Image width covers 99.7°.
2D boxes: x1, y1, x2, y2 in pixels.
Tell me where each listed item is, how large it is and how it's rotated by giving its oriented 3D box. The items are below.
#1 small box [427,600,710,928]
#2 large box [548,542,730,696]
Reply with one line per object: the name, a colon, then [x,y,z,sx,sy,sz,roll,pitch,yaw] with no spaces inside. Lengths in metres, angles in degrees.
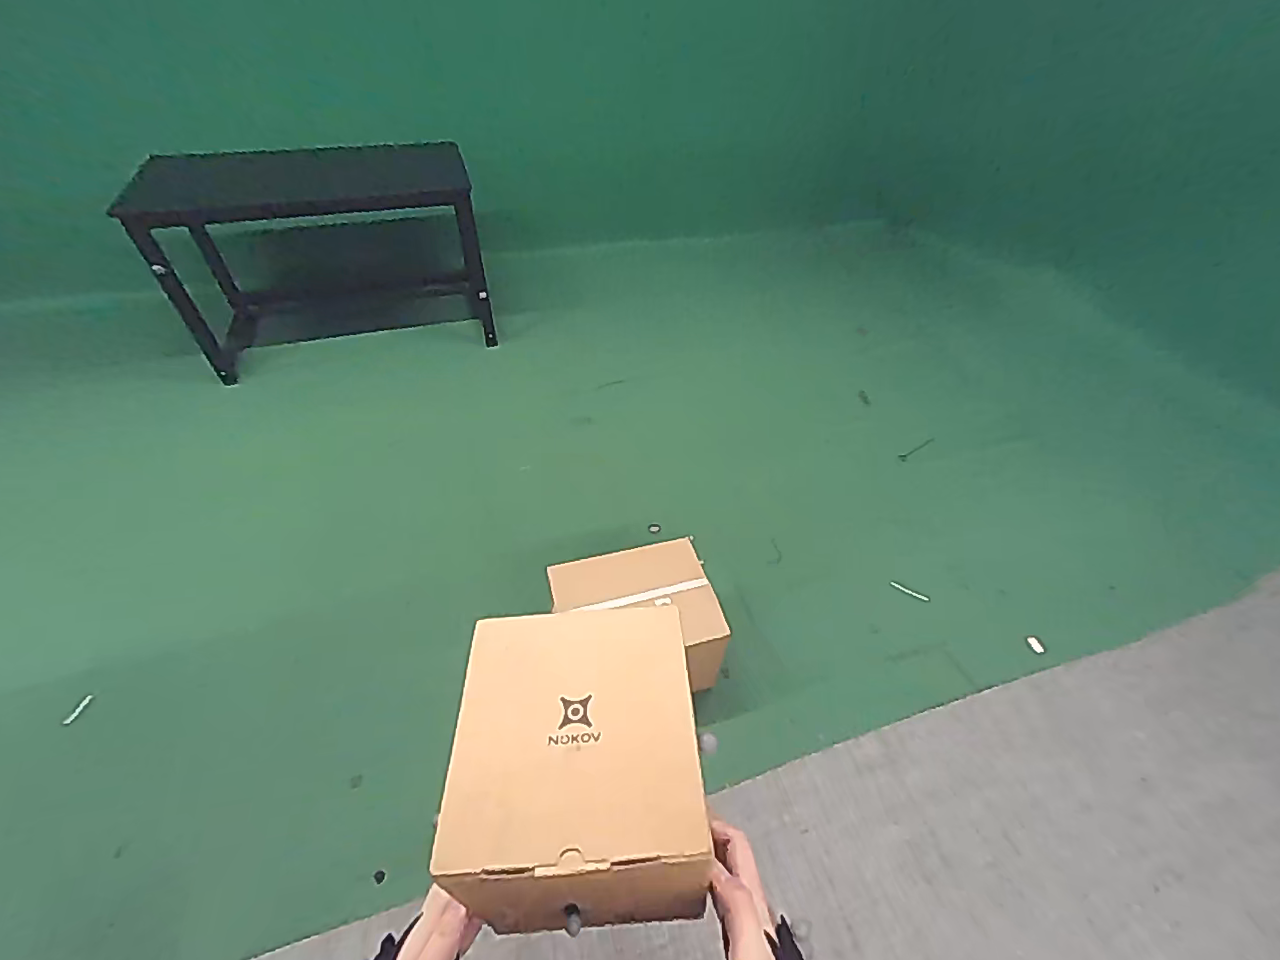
small box: [-0.043,0.218,0.422,0.168,0.176,0.179,-4,42,-1]
large box: [-0.018,0.418,1.468,0.408,0.320,0.320,-10,47,-13]
